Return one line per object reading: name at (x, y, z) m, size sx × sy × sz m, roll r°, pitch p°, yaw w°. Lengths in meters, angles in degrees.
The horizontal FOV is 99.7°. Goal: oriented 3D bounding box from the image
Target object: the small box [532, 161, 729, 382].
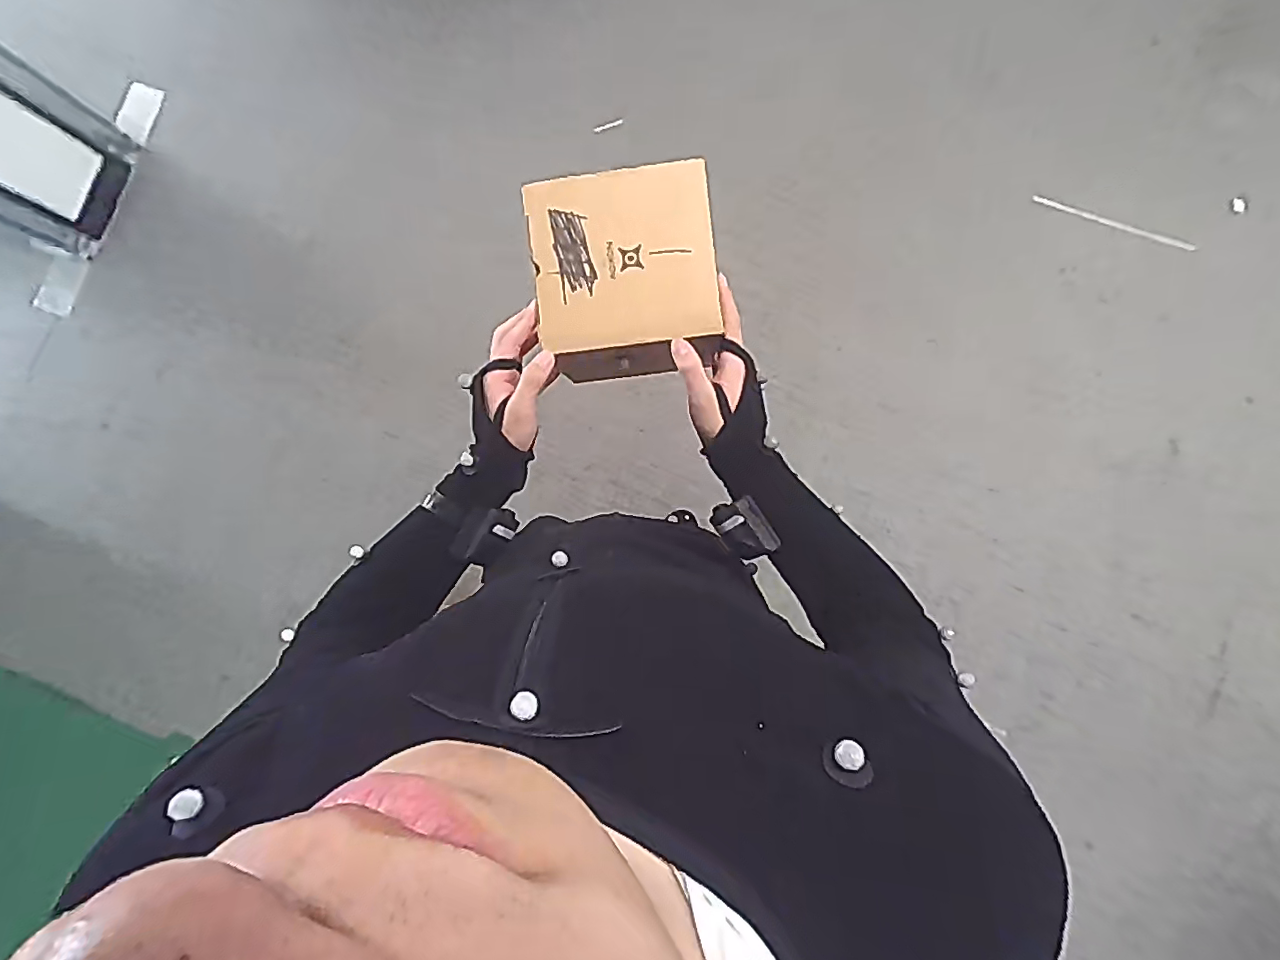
small box at (-0.004, -0.207, 0.585) m, size 0.179 × 0.176 × 0.168 m, roll -6°, pitch 90°, yaw 3°
